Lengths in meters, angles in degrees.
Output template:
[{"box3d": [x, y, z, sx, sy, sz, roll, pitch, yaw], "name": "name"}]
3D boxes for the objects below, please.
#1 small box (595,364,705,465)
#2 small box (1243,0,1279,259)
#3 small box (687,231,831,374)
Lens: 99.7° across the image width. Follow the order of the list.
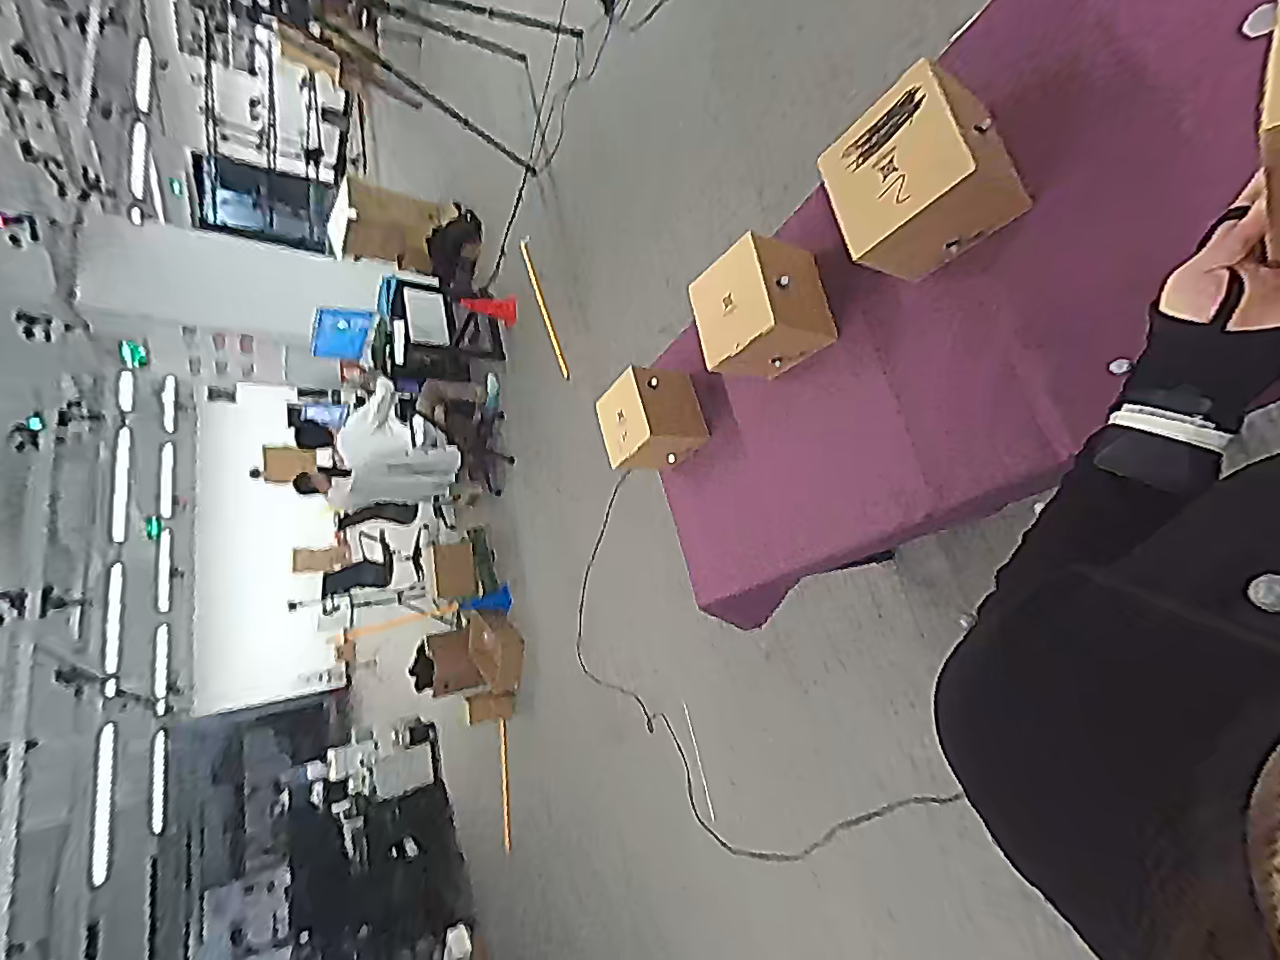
[{"box3d": [0.022, -0.142, 1.247, 0.168, 0.176, 0.179, -38, 61, 48], "name": "small box"}, {"box3d": [0.420, -0.231, 0.249, 0.179, 0.168, 0.176, 10, 90, 50], "name": "small box"}, {"box3d": [0.215, -0.309, 0.982, 0.168, 0.176, 0.179, -28, 70, 51], "name": "small box"}]
